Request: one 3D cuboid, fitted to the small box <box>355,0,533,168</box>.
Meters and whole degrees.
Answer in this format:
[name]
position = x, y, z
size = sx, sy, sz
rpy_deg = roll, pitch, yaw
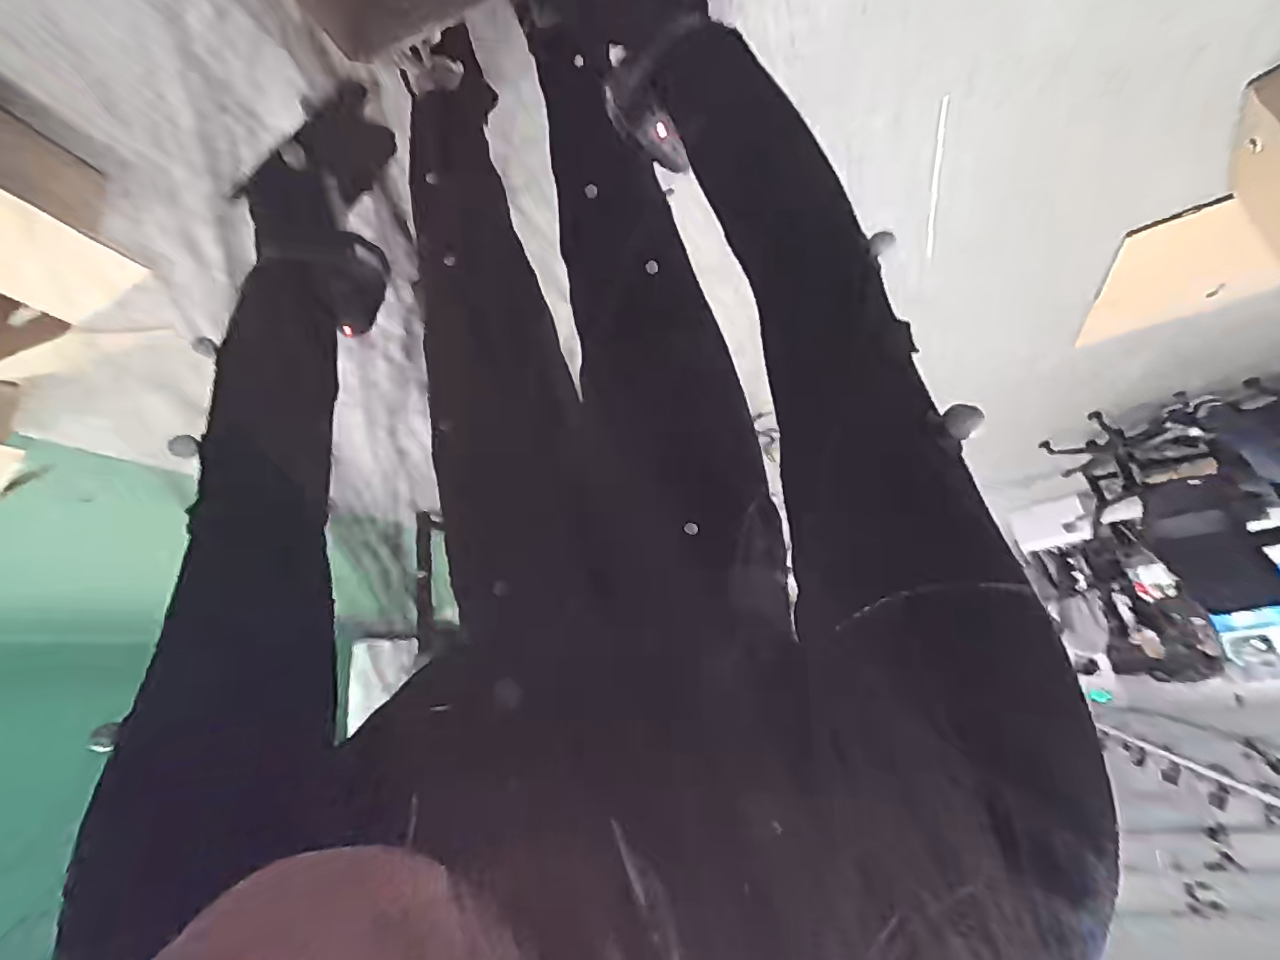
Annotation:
[small box]
position = -0.284, -0.606, 0.777
size = 0.179, 0.176, 0.168
rpy_deg = 29, 148, -26
